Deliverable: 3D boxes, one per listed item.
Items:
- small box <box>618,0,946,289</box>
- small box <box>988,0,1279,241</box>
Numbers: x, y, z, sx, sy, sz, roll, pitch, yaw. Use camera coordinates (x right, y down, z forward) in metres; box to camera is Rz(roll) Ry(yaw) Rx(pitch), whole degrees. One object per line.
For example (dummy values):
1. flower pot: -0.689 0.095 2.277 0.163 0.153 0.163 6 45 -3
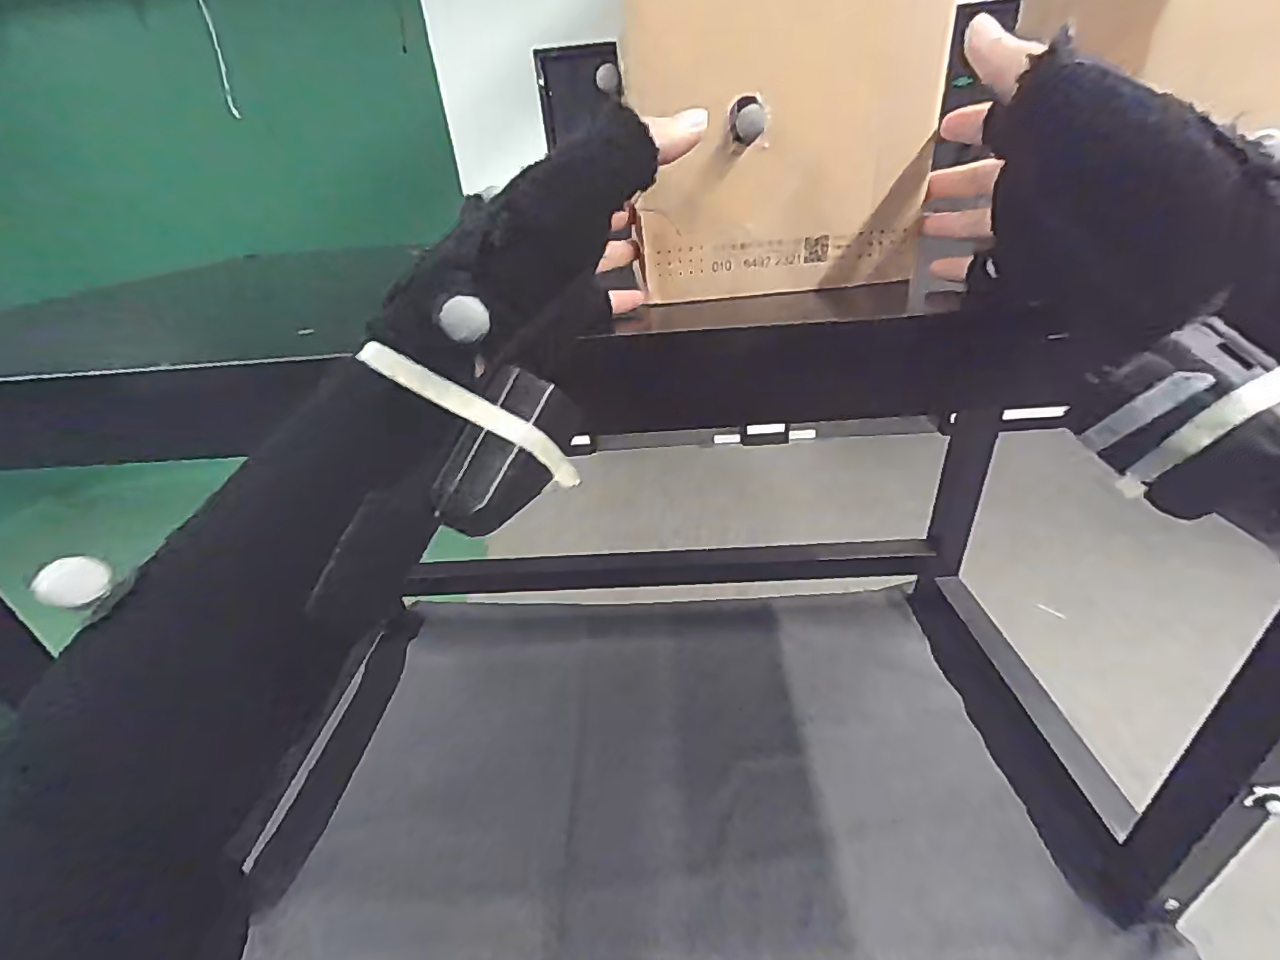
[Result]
1. small box: 0.076 -0.227 0.356 0.168 0.176 0.179 -5 29 0
2. small box: 0.369 -0.263 0.364 0.168 0.176 0.179 -1 31 9
